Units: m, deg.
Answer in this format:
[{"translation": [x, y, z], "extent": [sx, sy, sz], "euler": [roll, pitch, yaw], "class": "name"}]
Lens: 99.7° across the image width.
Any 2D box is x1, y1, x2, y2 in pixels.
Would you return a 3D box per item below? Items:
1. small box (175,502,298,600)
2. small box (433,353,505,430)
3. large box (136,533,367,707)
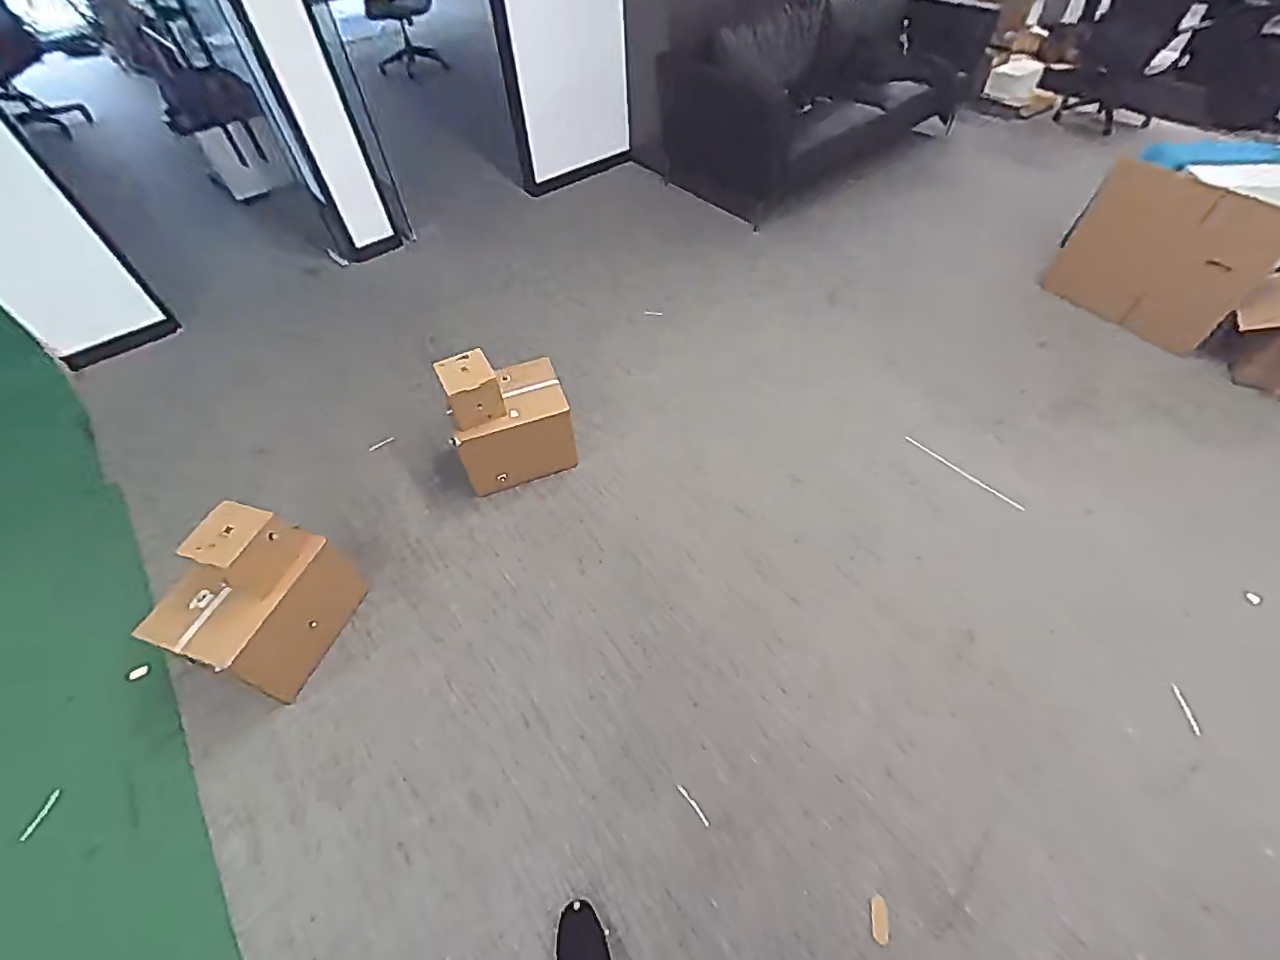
[{"translation": [-1.059, 0.192, 1.445], "extent": [0.168, 0.176, 0.179], "euler": [13, 53, 11], "class": "small box"}, {"translation": [-0.569, -0.291, 1.818], "extent": [0.168, 0.176, 0.179], "euler": [-24, 56, -17], "class": "small box"}, {"translation": [-1.105, 0.393, 1.603], "extent": [0.320, 0.320, 0.408], "euler": [12, 54, 13], "class": "large box"}]
